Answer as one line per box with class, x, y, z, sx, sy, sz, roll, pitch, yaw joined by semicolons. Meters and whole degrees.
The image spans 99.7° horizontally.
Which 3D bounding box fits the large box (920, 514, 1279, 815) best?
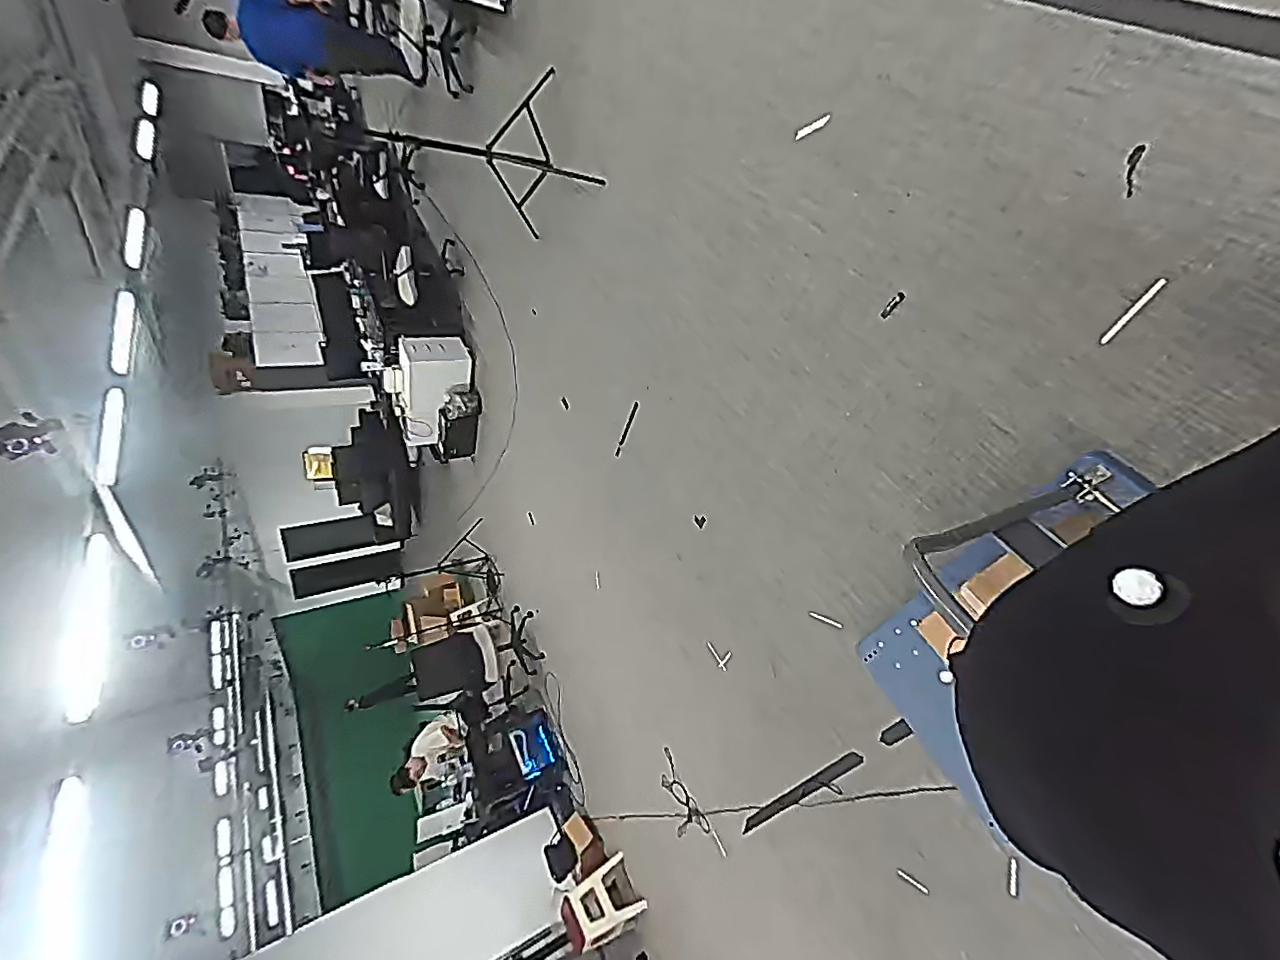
large box;0.860;0.330;1.034;0.408;0.320;0.320;59;143;32
